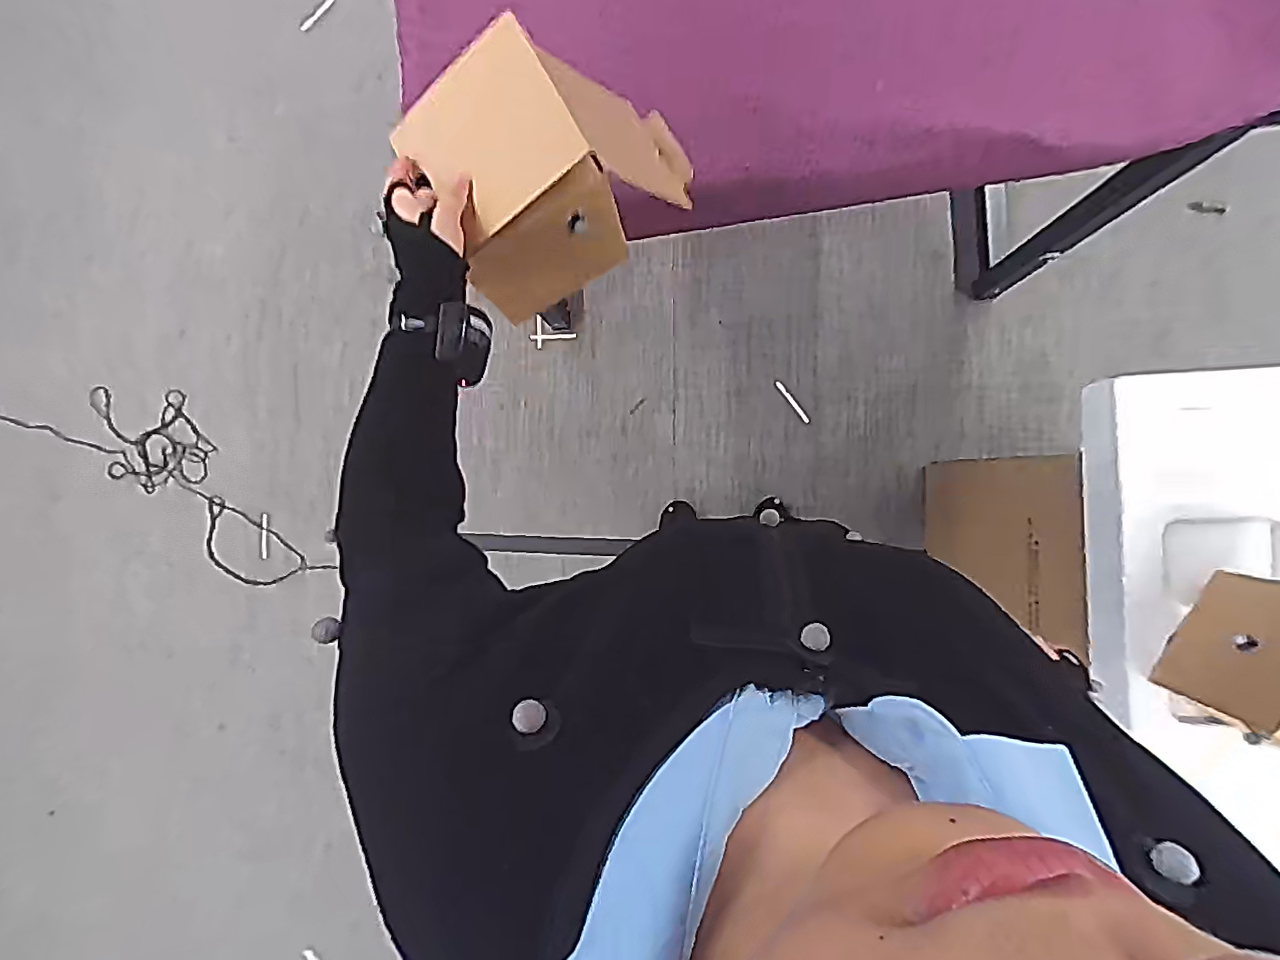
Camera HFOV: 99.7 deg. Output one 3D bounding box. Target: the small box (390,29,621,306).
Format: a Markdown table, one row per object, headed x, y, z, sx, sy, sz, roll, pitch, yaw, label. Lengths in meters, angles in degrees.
| x | y | z | sx | sy | sz | roll | pitch | yaw | label |
| --- | --- | --- | --- | --- | --- | --- | --- | --- | --- |
| -0.133 | -0.331 | 0.611 | 0.179 | 0.176 | 0.168 | -30 | 83 | 4 | small box |
